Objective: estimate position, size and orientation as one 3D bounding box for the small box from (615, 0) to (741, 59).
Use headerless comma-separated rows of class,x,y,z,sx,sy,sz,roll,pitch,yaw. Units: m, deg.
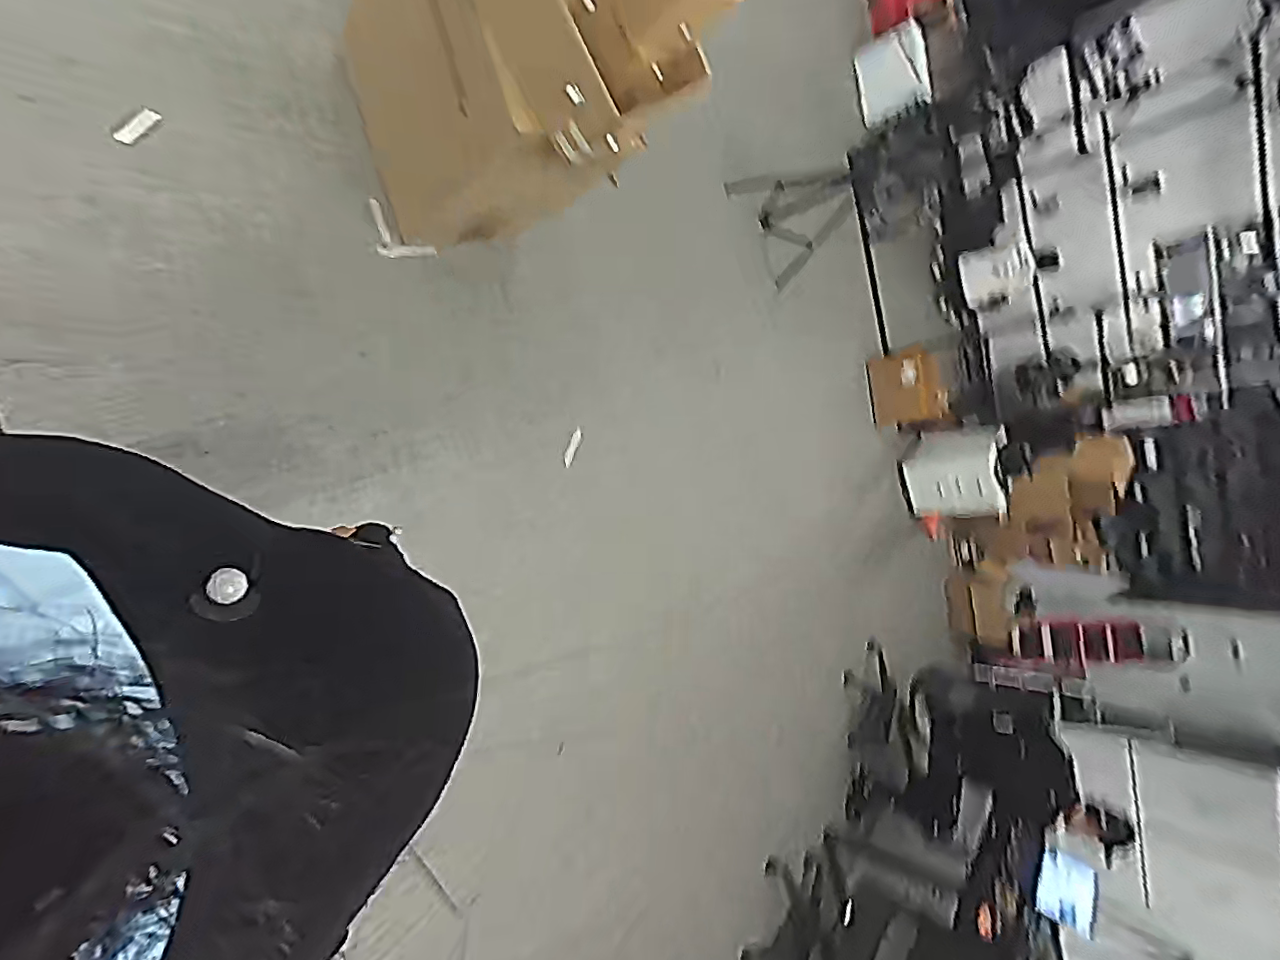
small box,0.059,-0.949,1.030,0.168,0.176,0.179,-32,107,-40
